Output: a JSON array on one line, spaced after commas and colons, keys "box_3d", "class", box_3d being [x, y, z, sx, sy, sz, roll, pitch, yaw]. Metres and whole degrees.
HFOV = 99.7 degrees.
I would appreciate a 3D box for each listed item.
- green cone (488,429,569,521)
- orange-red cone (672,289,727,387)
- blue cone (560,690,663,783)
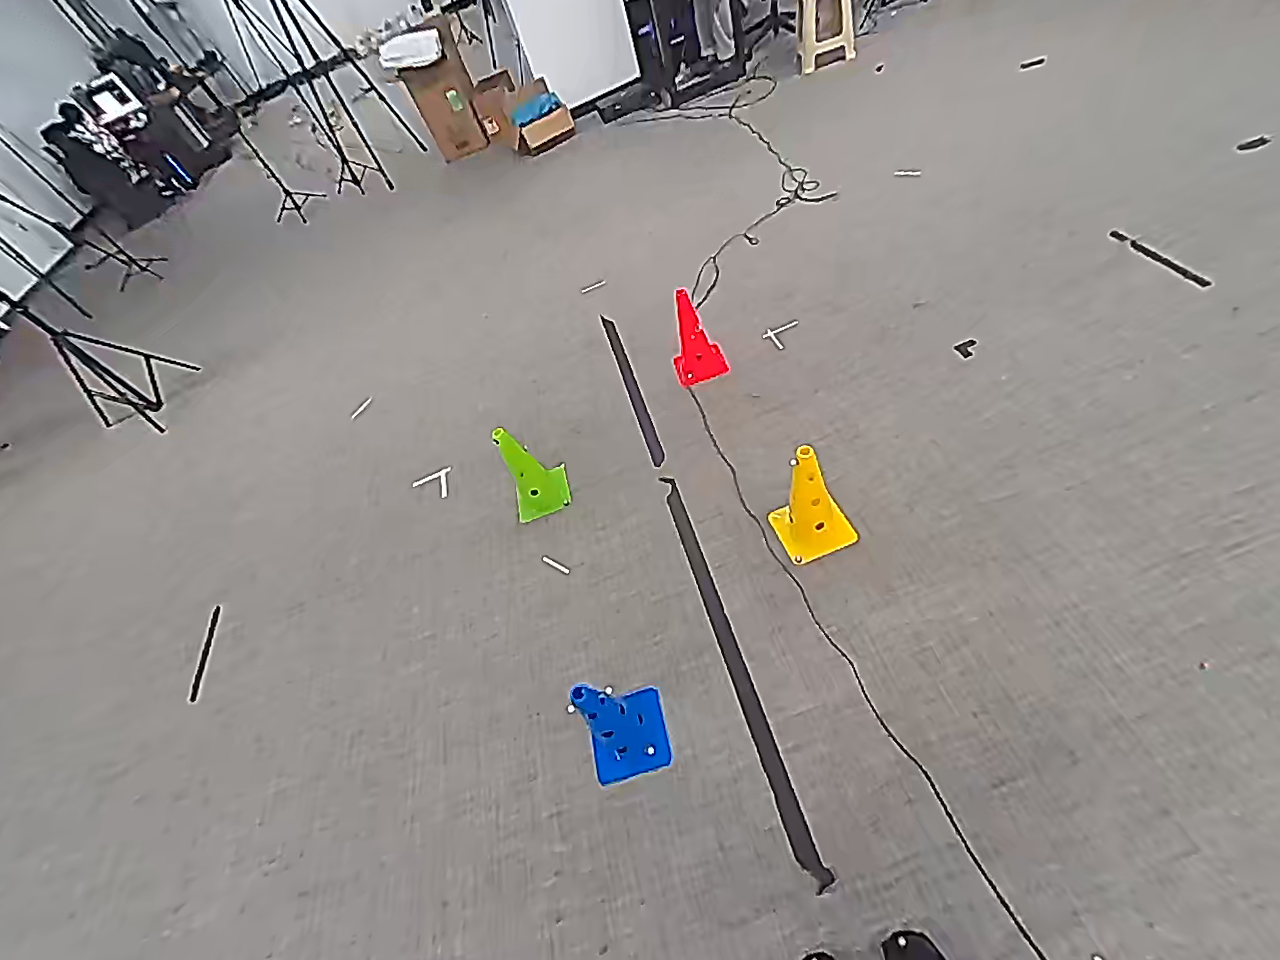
[{"box_3d": [-0.416, -0.053, 1.876, 0.202, 0.368, 0.200, -22, 49, 4], "class": "green cone"}, {"box_3d": [0.191, -0.565, 2.055, 0.199, 0.360, 0.198, -17, 51, 6], "class": "orange-red cone"}, {"box_3d": [-0.088, 0.568, 1.283, 0.192, 0.380, 0.193, -19, 49, 7], "class": "blue cone"}]
